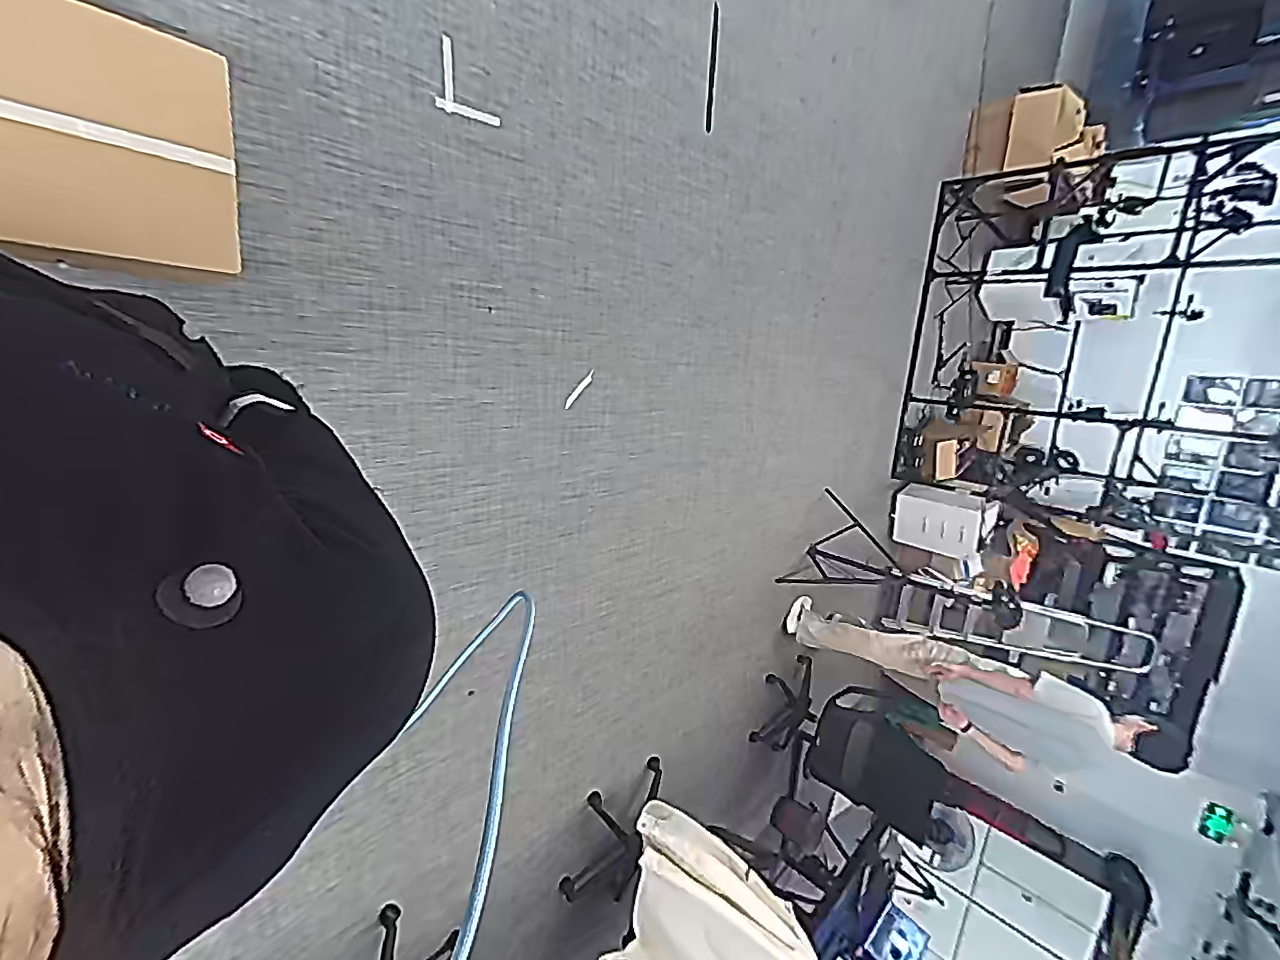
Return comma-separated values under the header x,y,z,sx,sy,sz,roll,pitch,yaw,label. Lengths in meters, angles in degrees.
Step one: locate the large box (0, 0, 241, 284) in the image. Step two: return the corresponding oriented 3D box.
x,y,z,sx,sy,sz,roll,pitch,yaw,label
-0.877,-0.485,0.799,0.408,0.320,0.320,-7,108,-45,large box
